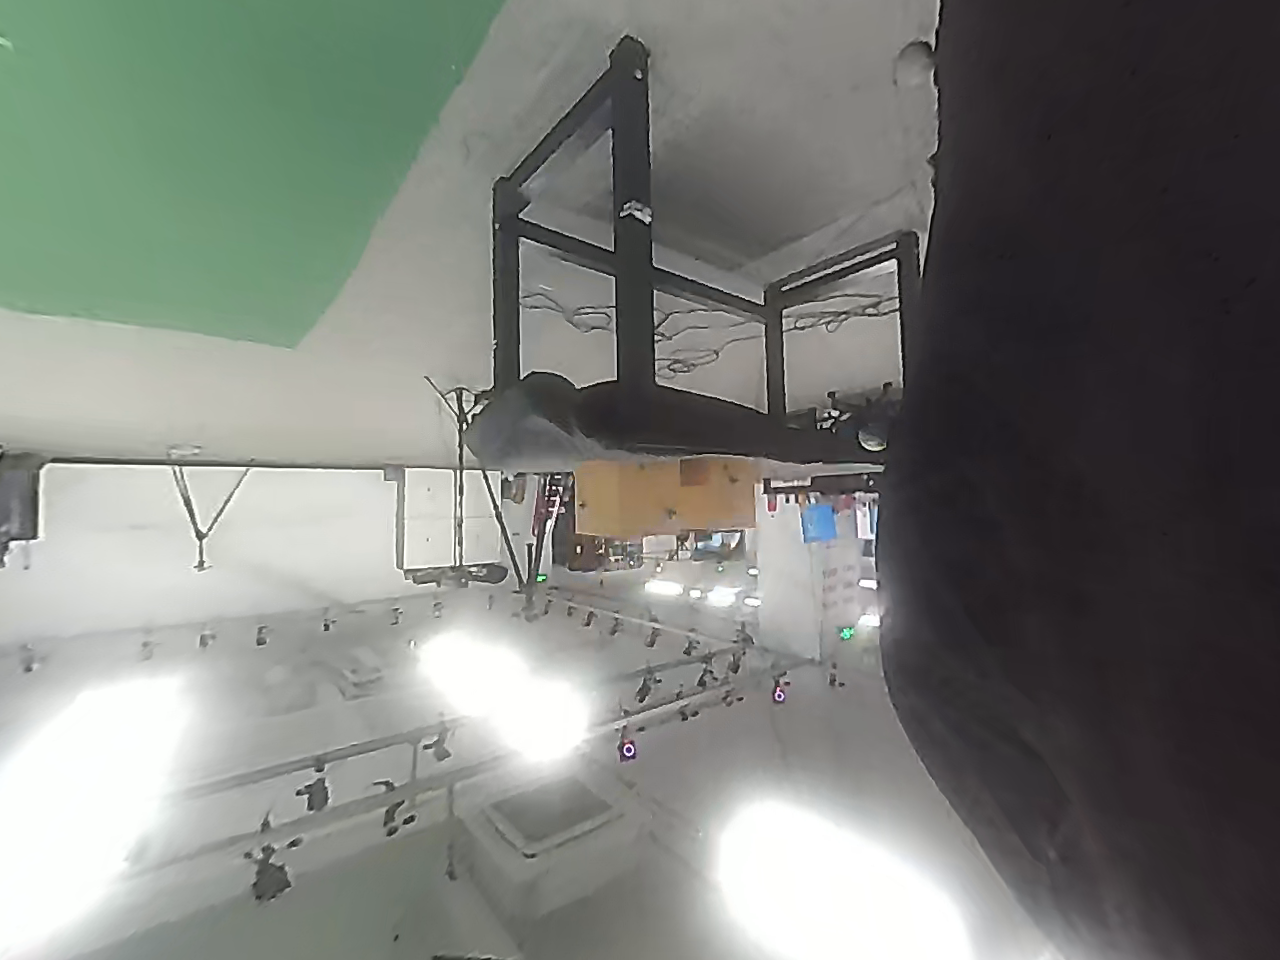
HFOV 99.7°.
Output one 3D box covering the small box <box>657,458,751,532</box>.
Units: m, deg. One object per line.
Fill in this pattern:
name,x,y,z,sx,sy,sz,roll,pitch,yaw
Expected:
small box,0.159,0.038,1.336,0.168,0.176,0.179,0,177,-39
